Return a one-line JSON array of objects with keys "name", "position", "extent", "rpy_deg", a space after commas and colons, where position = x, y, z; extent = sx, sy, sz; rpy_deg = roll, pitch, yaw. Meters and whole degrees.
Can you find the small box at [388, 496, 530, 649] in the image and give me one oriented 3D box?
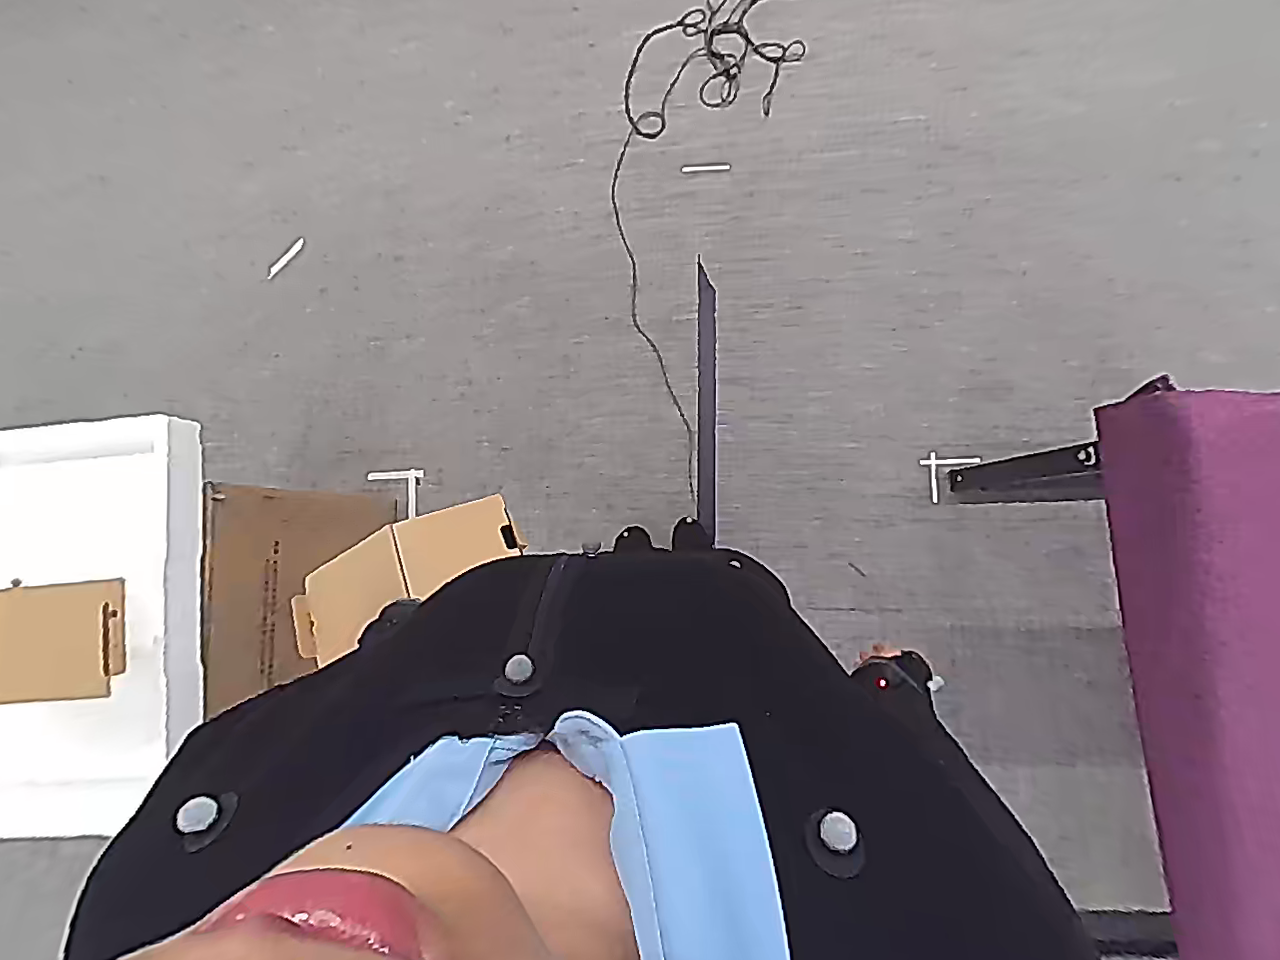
[{"name": "small box", "position": [-0.287, 0.155, 0.883], "extent": [0.179, 0.176, 0.168], "rpy_deg": [-17, 64, -20]}]
